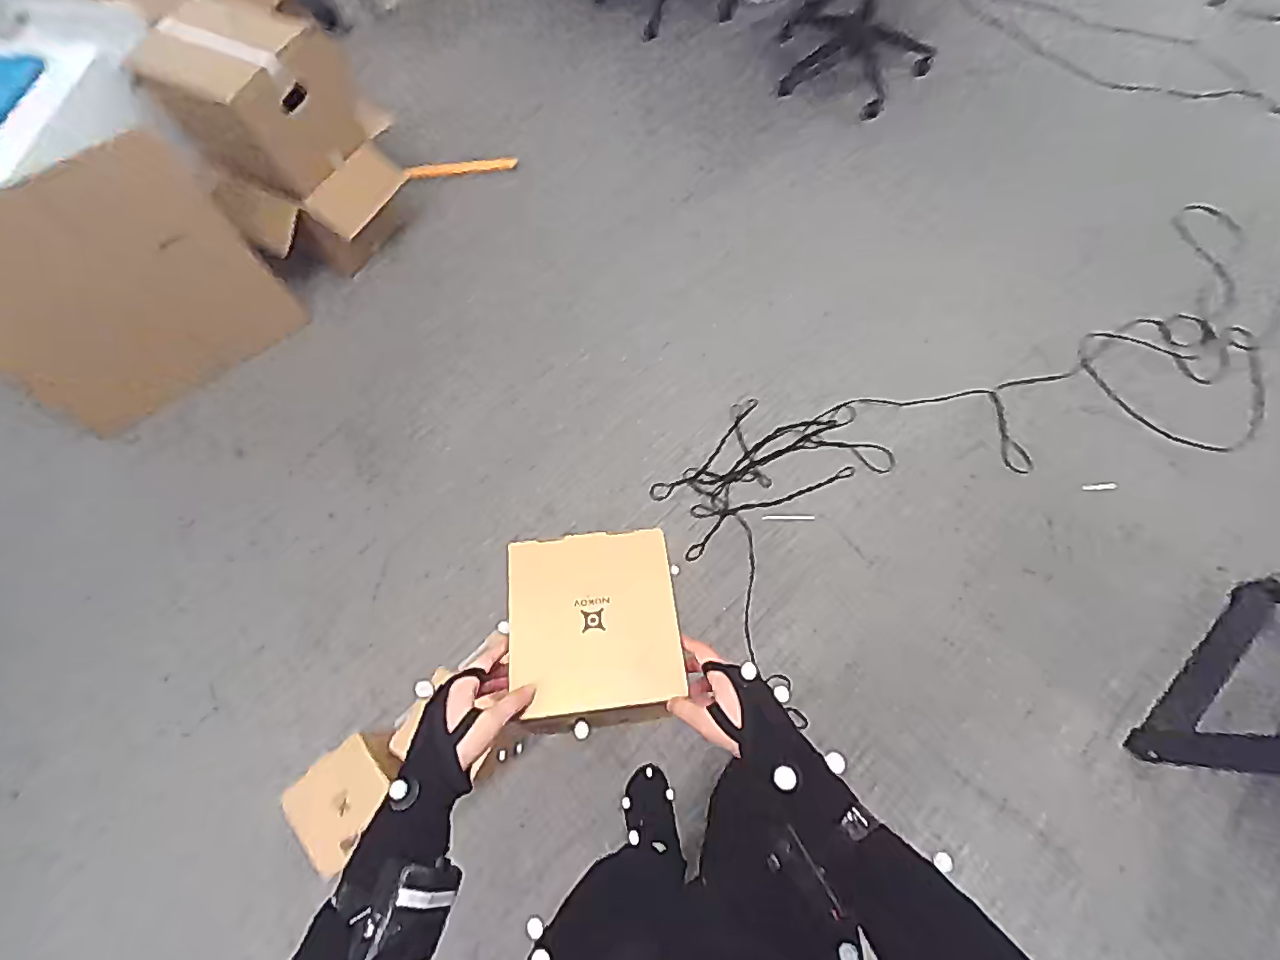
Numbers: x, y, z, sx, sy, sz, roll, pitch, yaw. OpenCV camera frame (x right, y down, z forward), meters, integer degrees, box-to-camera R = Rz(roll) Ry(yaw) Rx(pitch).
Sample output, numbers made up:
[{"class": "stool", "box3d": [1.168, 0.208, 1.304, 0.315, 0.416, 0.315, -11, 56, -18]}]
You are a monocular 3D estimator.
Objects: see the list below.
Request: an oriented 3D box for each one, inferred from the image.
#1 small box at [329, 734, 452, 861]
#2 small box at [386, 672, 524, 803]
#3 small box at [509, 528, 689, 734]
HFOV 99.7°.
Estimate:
[{"class": "small box", "box3d": [-0.524, 0.678, 1.186, 0.179, 0.176, 0.168, -41, 70, -14]}, {"class": "small box", "box3d": [-0.354, 0.504, 1.080, 0.179, 0.176, 0.168, 27, 70, 13]}, {"class": "small box", "box3d": [-0.044, 0.172, 0.591, 0.168, 0.176, 0.179, -5, 58, -4]}]
